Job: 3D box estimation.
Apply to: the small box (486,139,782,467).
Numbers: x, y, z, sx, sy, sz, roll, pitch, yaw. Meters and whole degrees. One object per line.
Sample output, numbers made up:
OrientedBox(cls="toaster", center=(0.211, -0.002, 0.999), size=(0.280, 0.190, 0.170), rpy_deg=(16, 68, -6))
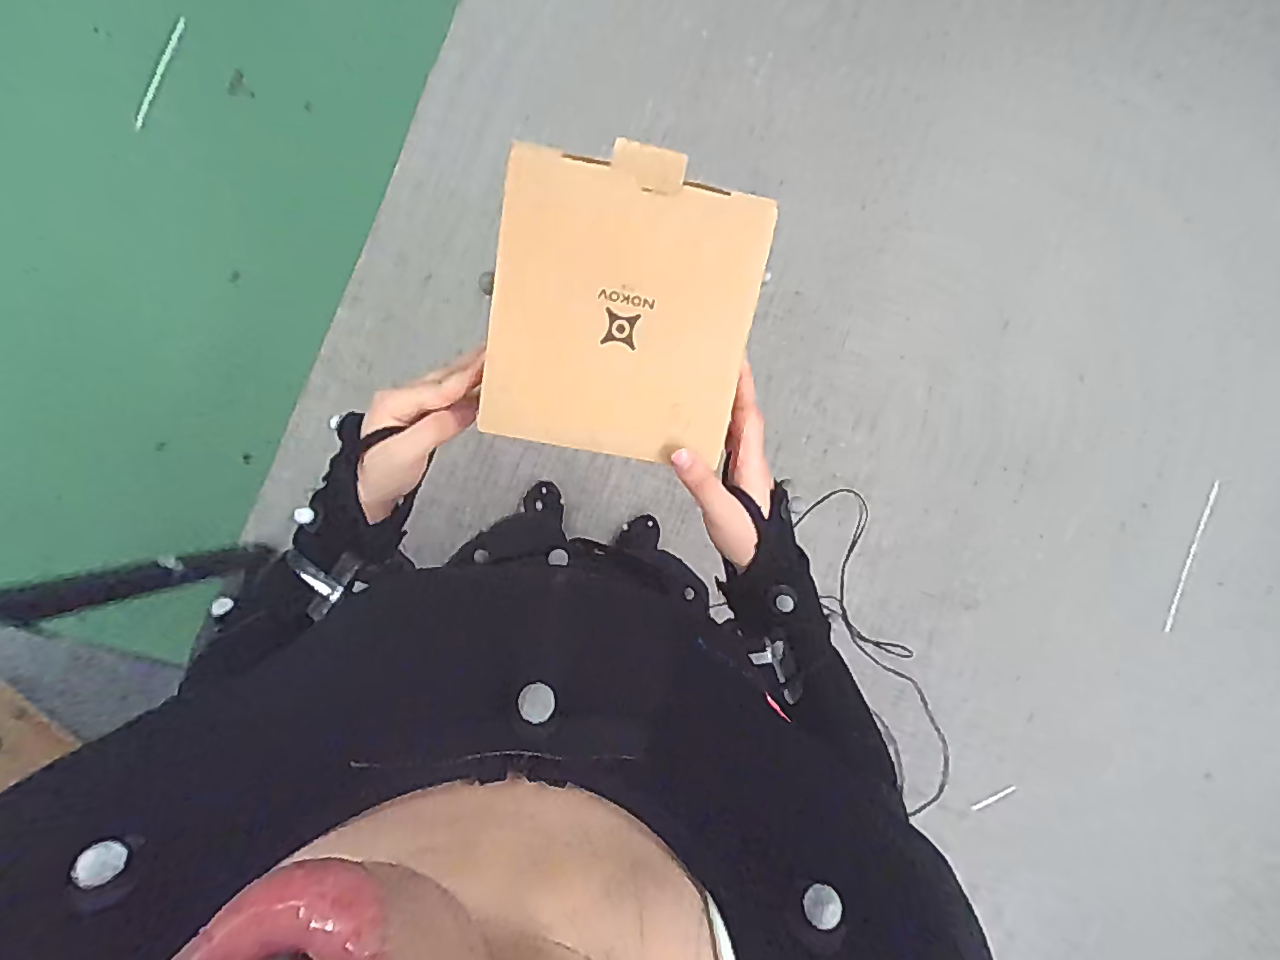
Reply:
OrientedBox(cls="small box", center=(-0.011, -0.124, 0.419), size=(0.168, 0.176, 0.179), rpy_deg=(9, 104, -6))
